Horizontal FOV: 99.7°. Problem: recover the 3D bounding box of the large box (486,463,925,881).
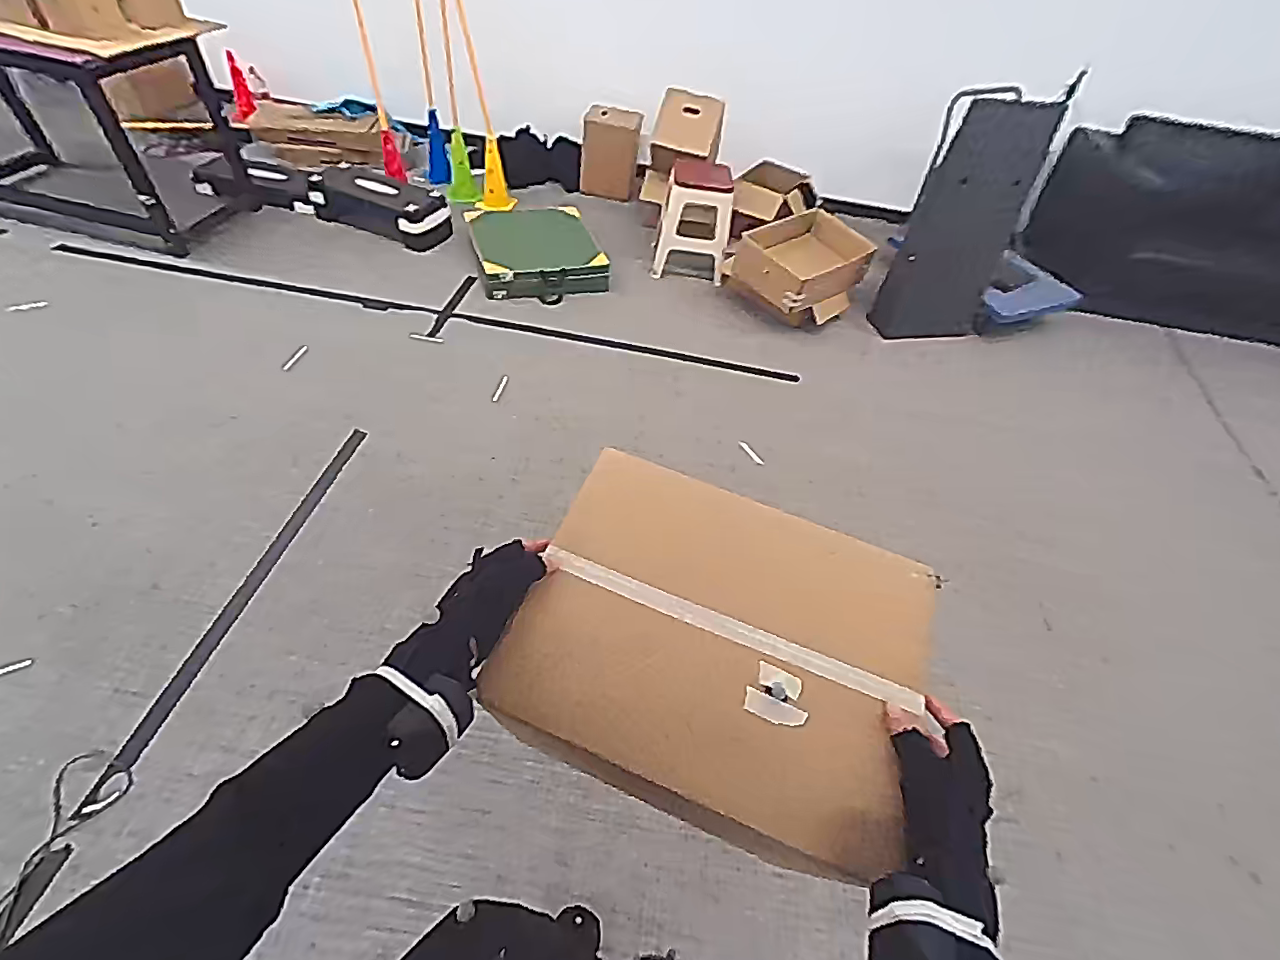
[{"bbox_3d":[0.076,0.239,0.692,0.408,0.320,0.320,21,60,8],"label":"large box"}]
